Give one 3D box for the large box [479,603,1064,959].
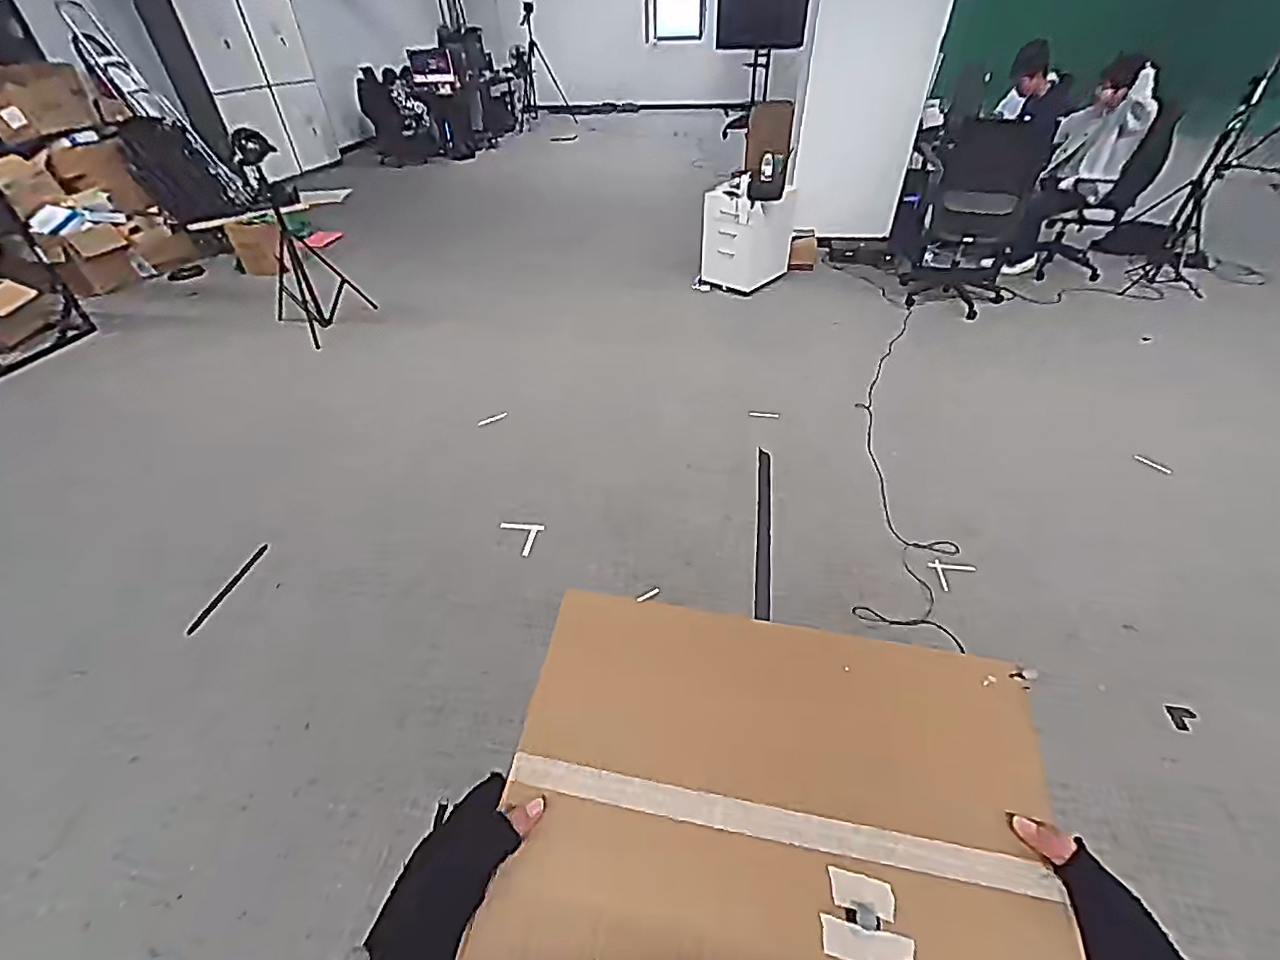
[{"bbox_3d":[0.107,0.352,0.541,0.408,0.320,0.320,7,55,9],"label":"large box"}]
